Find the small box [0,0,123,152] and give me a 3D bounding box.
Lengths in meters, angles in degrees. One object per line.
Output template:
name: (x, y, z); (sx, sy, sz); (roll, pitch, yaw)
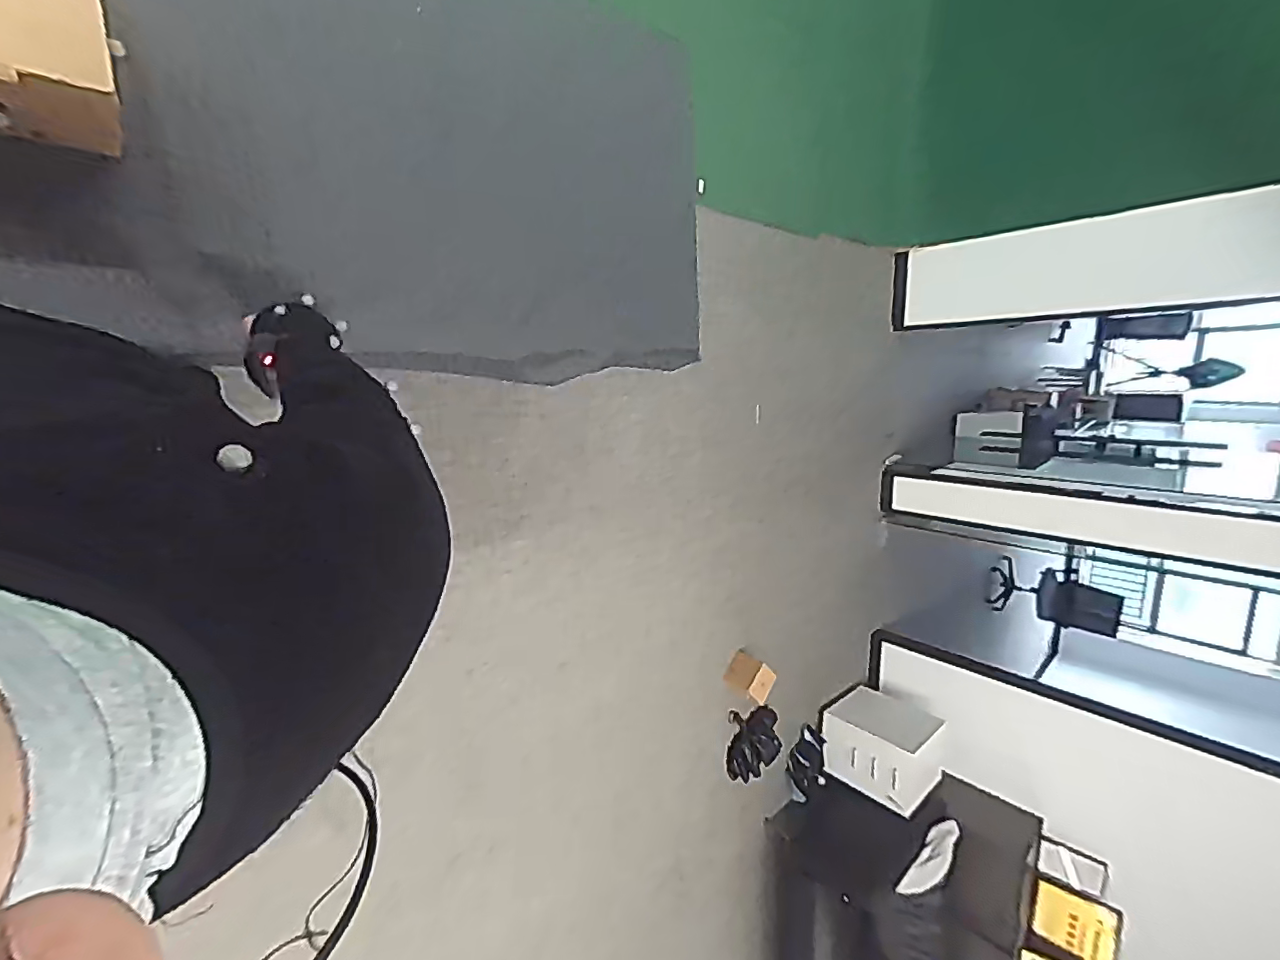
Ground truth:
small box: (-0.575, -0.418, 0.470); (0.168, 0.176, 0.179); (-10, 105, -42)
